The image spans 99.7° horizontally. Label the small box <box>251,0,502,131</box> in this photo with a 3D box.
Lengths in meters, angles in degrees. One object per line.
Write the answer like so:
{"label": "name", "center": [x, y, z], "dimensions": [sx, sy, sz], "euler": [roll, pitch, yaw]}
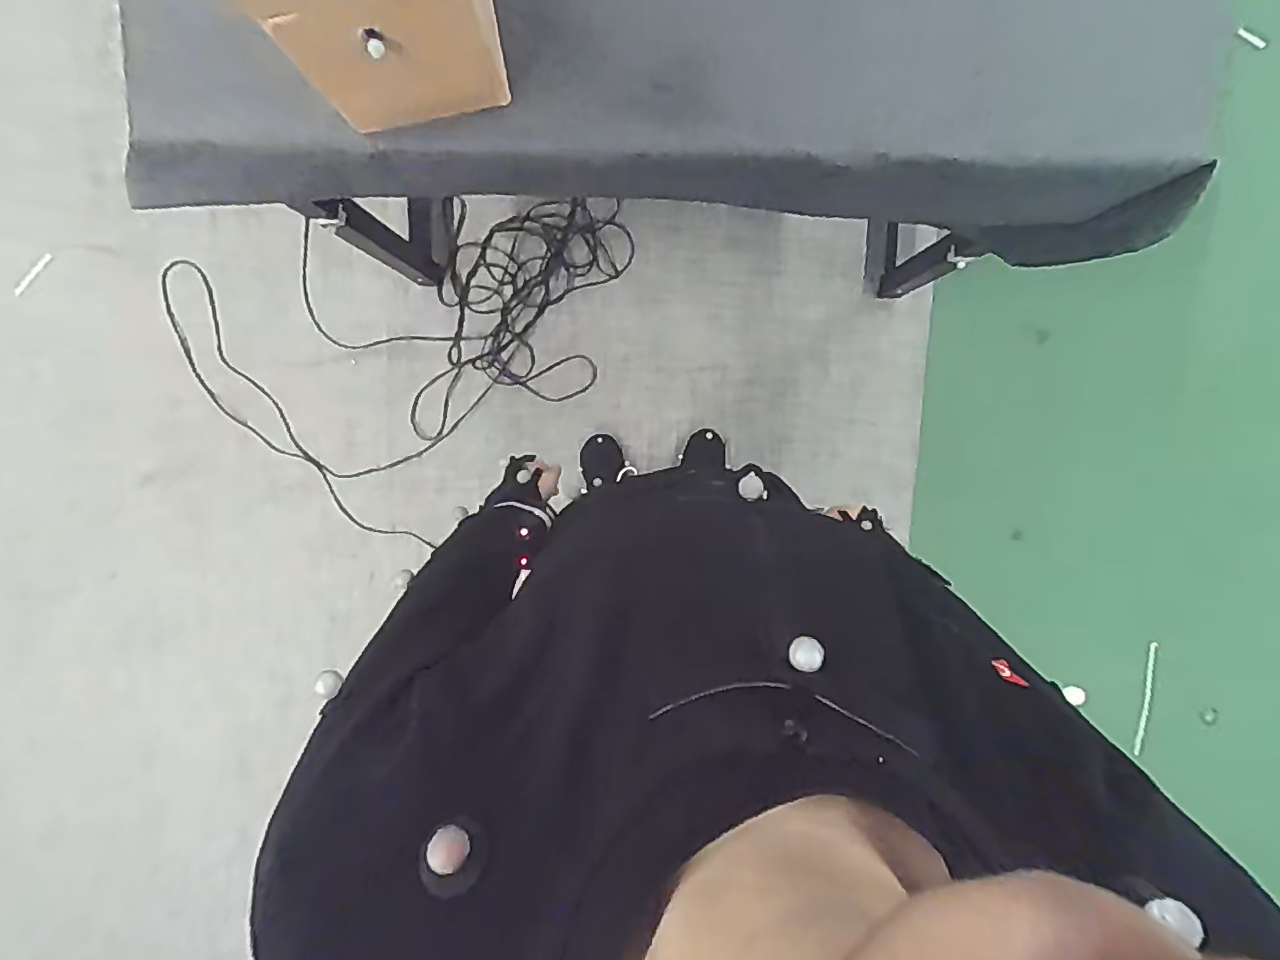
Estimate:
{"label": "small box", "center": [-0.239, -0.469, 0.510], "dimensions": [0.179, 0.176, 0.168], "euler": [-10, 95, 1]}
